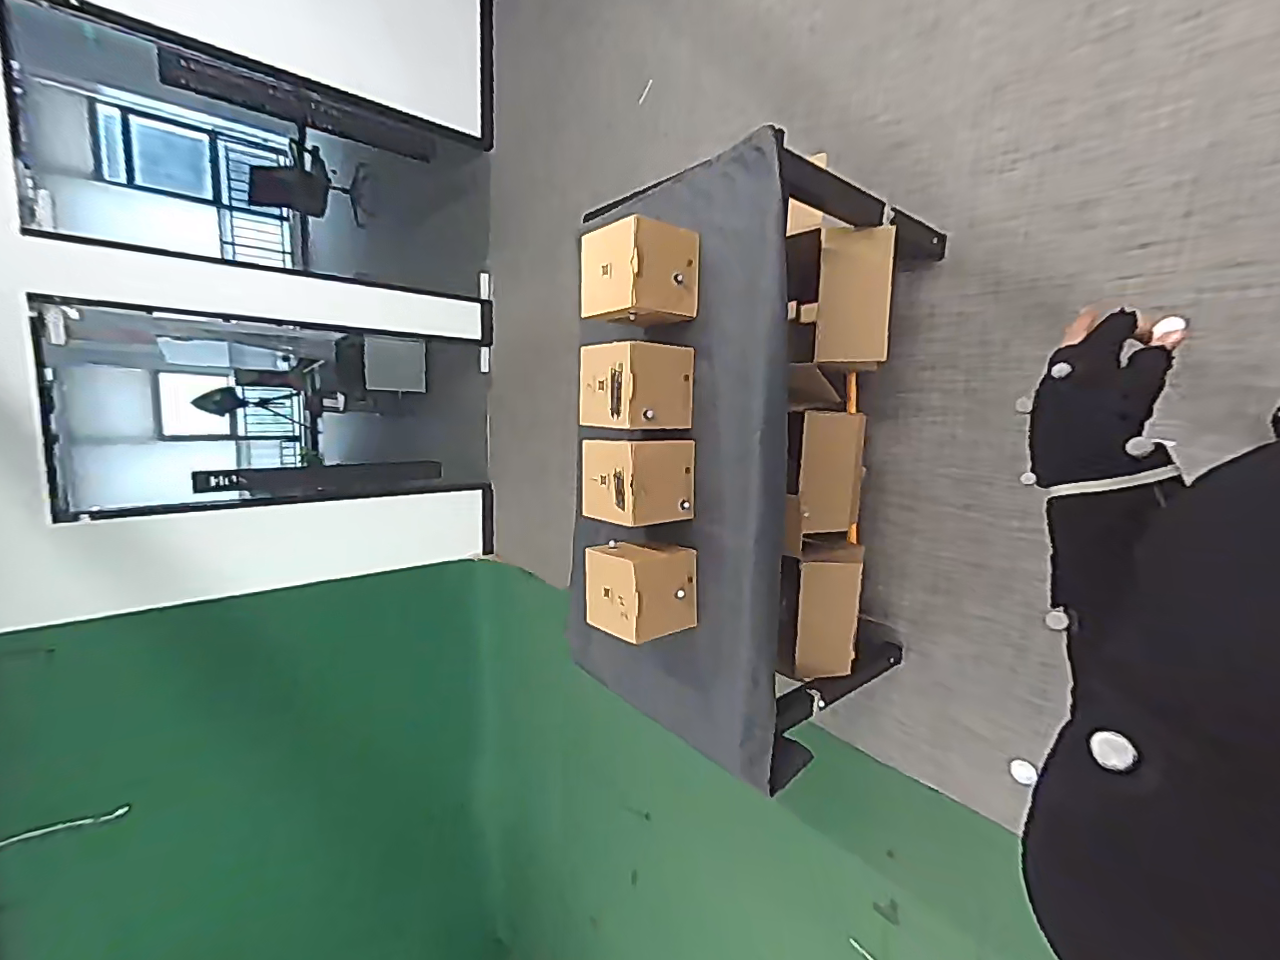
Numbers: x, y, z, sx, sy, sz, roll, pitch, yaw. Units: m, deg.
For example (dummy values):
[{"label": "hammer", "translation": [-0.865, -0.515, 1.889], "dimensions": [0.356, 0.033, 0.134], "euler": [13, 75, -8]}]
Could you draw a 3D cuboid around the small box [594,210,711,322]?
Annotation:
[{"label": "small box", "translation": [0.023, -0.423, 1.103], "dimensions": [0.179, 0.176, 0.168], "euler": [9, 101, 51]}]

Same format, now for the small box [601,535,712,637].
[{"label": "small box", "translation": [0.035, 0.216, 1.160], "dimensions": [0.179, 0.176, 0.168], "euler": [4, 98, 51]}]
